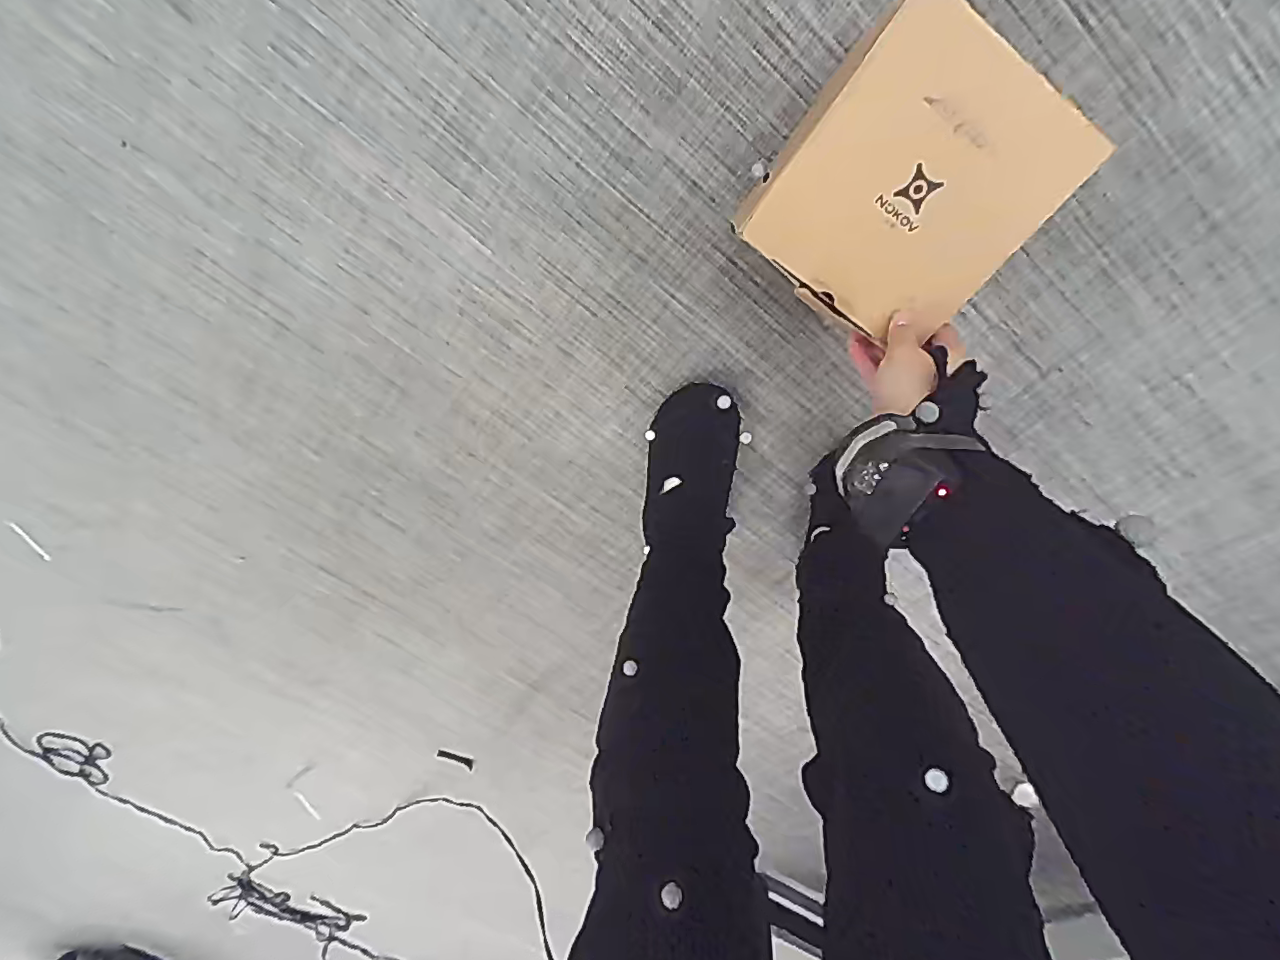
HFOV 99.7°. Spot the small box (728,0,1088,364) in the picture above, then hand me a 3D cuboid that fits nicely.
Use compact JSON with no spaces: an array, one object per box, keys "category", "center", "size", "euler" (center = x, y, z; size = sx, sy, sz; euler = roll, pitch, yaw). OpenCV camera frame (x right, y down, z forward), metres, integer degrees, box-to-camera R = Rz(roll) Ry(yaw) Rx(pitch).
[{"category":"small box","center":[0.190,-0.231,0.445],"size":[0.168,0.176,0.179],"euler":[33,118,-10]}]
